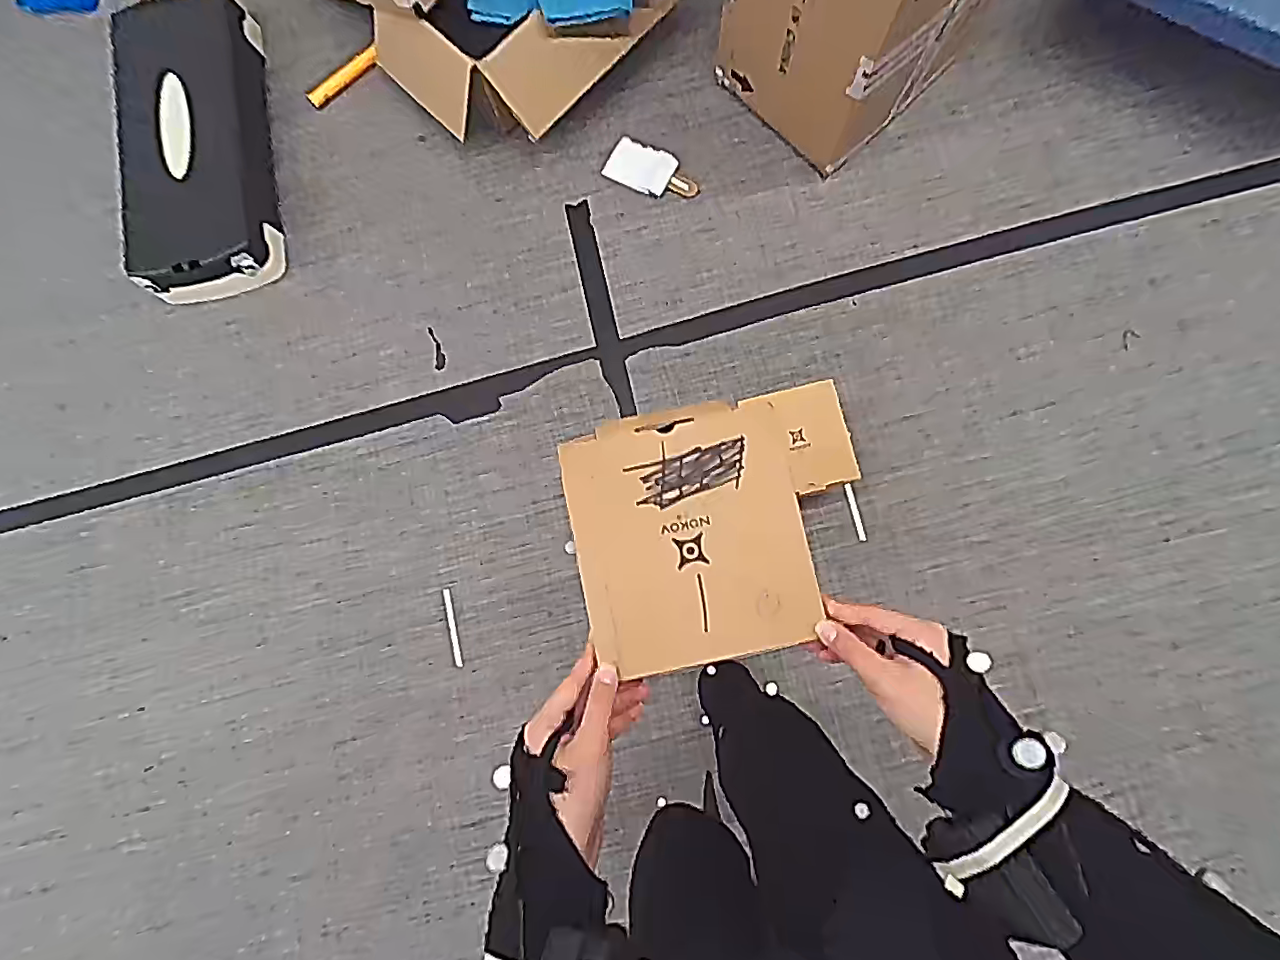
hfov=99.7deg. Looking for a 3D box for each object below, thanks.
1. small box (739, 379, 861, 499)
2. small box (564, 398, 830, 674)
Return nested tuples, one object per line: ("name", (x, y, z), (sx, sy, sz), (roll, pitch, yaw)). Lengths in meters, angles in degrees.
("small box", (0.262, -0.056, 0.961), (0.168, 0.176, 0.179), (-14, 82, 1))
("small box", (0.038, 0.049, 0.467), (0.168, 0.176, 0.179), (-12, 82, -1))
